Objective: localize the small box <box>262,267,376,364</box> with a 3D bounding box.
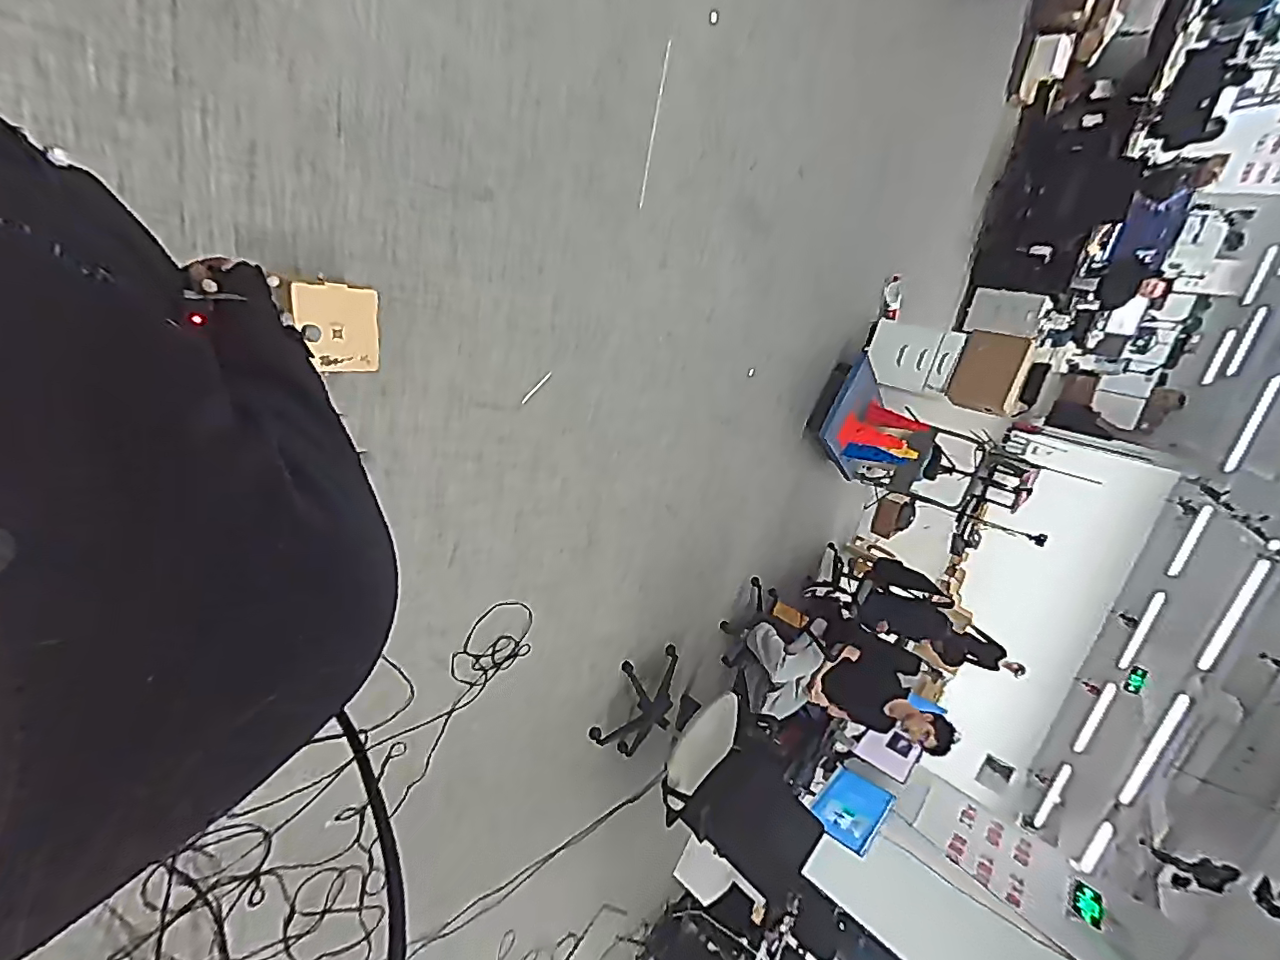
[{"bbox_3d":[-0.684,-0.350,1.154,0.168,0.176,0.179,-13,119,-47],"label":"small box"}]
